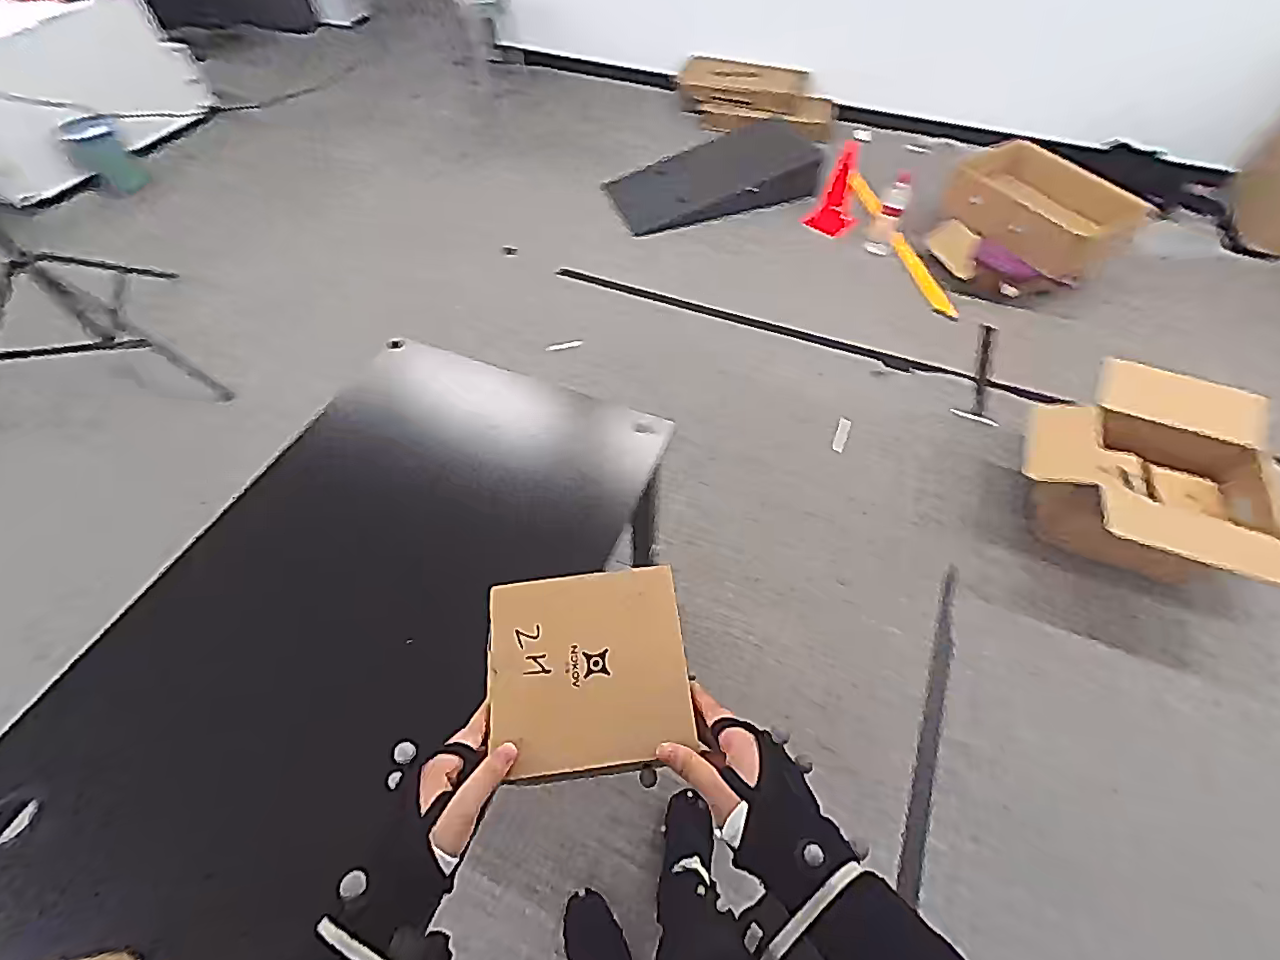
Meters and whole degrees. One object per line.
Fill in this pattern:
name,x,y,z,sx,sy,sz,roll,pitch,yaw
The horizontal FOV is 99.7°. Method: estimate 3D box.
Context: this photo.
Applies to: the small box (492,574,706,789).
small box,-0.037,0.207,0.543,0.179,0.176,0.168,-7,59,-1
